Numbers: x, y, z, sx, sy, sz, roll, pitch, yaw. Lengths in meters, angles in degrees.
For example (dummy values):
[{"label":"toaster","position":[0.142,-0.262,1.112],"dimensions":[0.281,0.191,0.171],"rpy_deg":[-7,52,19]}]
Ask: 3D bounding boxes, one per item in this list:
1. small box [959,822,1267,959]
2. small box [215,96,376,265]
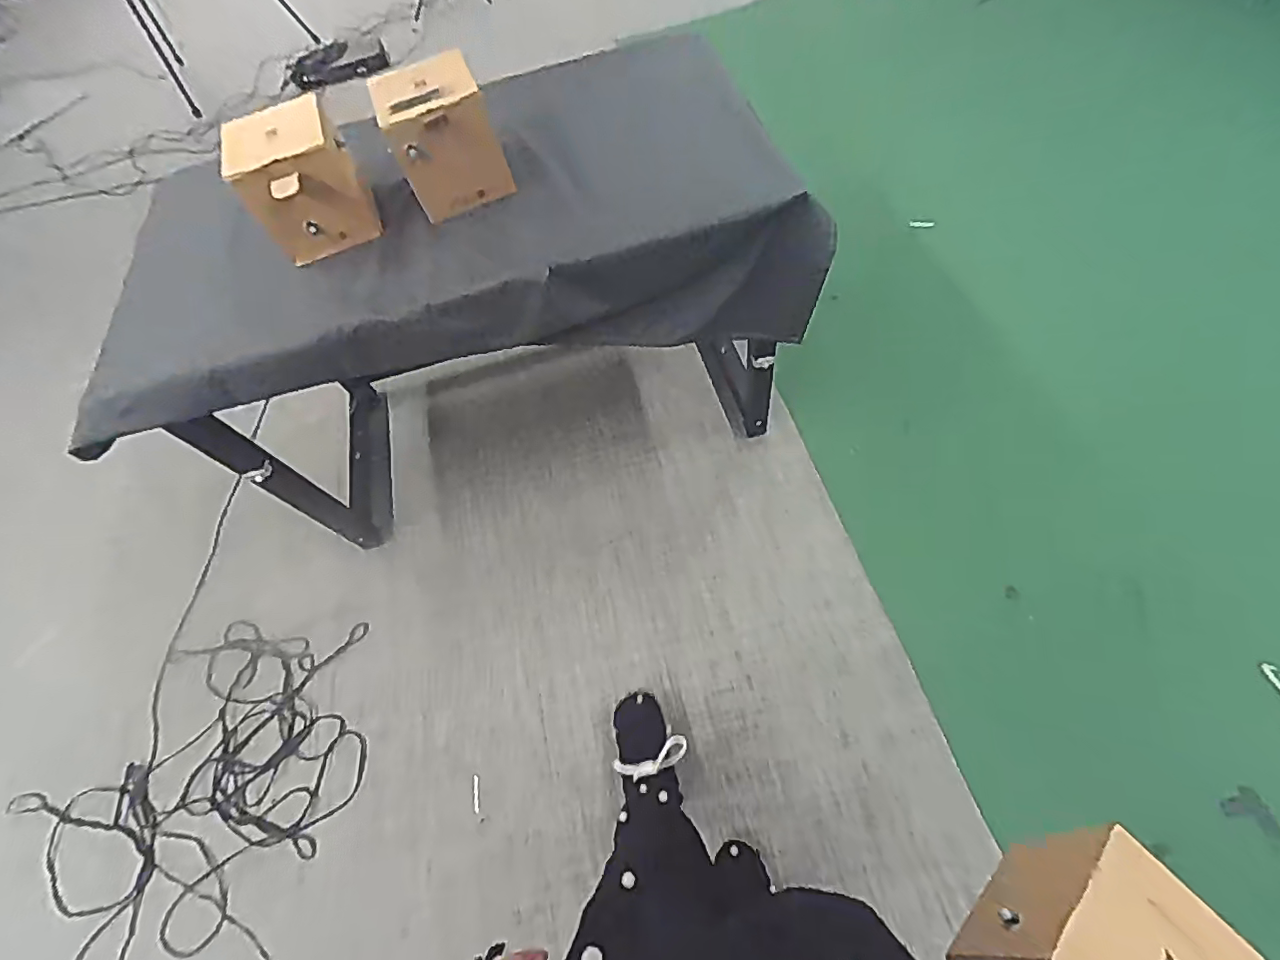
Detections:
[{"label":"small box","position":[0.465,0.492,0.544],"dimensions":[0.179,0.176,0.168],"rpy_deg":[-28,61,-30]},{"label":"small box","position":[-0.585,-0.508,0.930],"dimensions":[0.168,0.176,0.179],"rpy_deg":[-24,62,-4]}]
